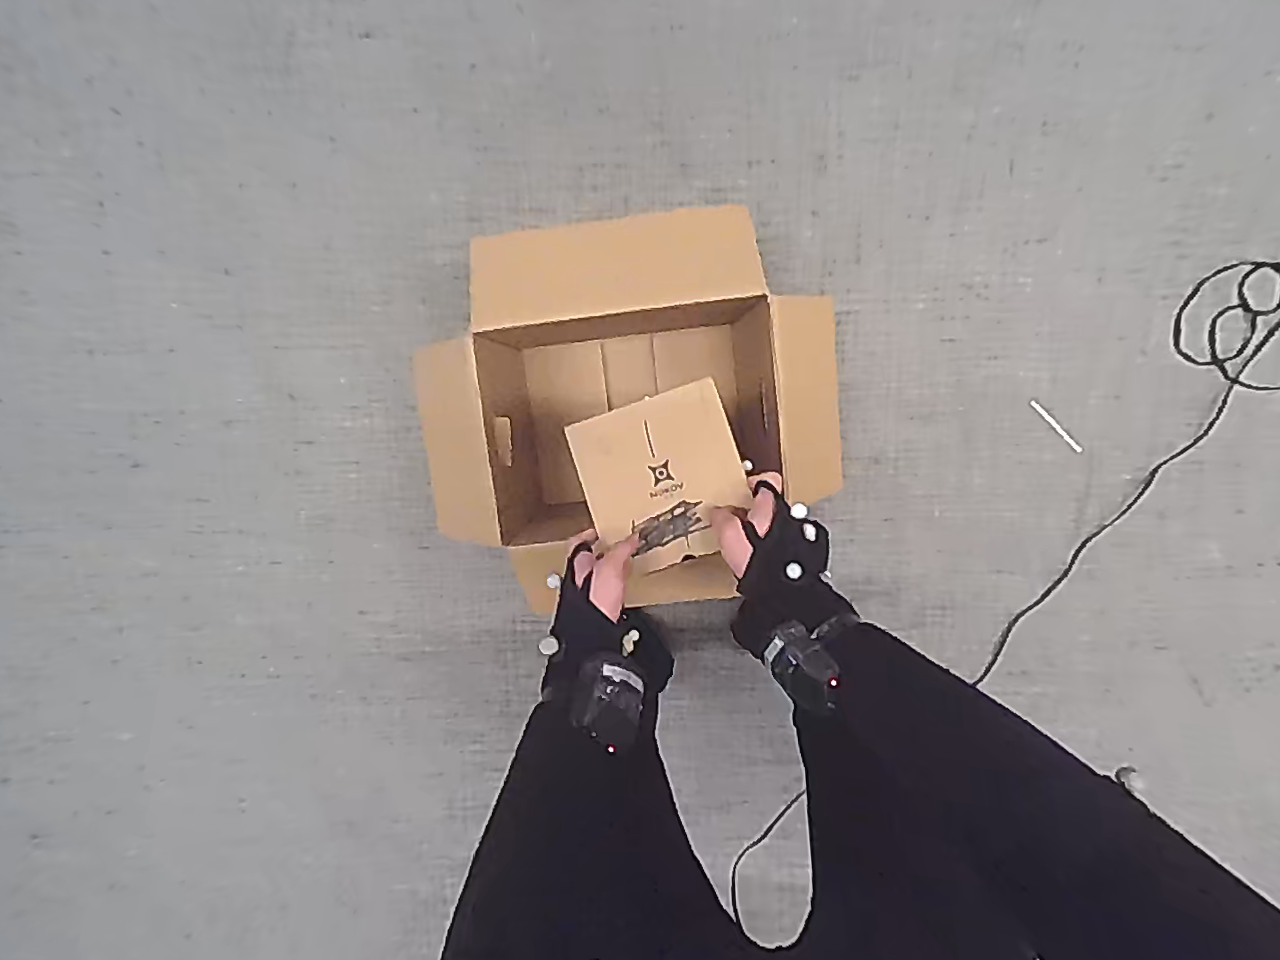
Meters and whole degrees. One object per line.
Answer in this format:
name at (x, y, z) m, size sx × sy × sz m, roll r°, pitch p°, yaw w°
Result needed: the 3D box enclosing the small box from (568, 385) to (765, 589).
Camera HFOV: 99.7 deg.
small box at (0.036, 0.007, 0.633) m, size 0.168 × 0.176 × 0.179 m, roll -18°, pitch 88°, yaw 6°
